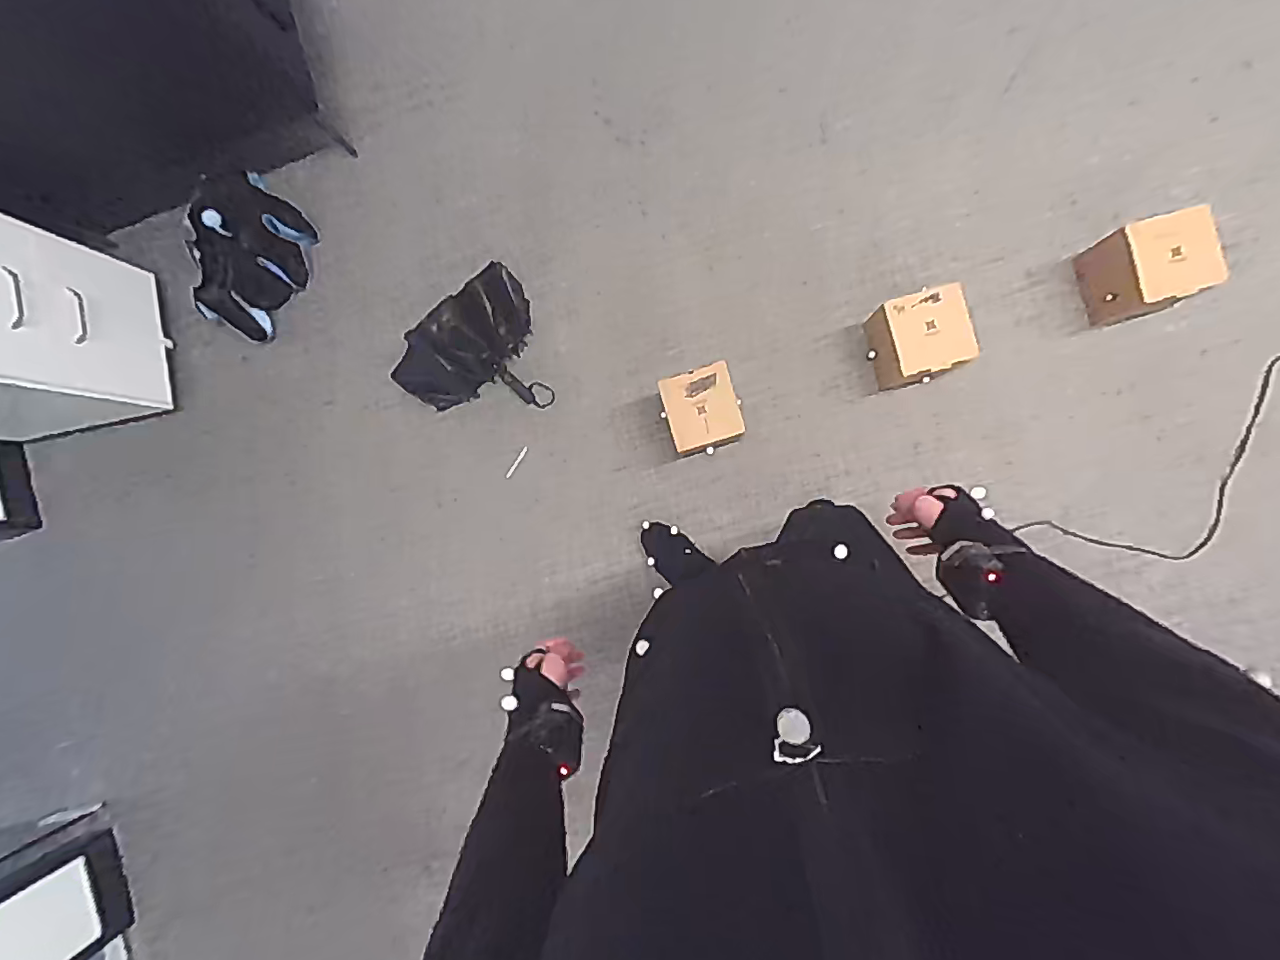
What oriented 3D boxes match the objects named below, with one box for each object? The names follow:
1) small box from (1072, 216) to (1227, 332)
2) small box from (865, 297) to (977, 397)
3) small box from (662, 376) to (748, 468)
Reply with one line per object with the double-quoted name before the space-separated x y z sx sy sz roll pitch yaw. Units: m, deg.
"small box" 1.128 -0.448 1.212 0.168 0.176 0.179 -15 85 7
"small box" 0.653 -0.301 1.276 0.168 0.176 0.179 -15 87 8
"small box" 0.161 -0.136 1.339 0.168 0.176 0.179 -17 87 8
